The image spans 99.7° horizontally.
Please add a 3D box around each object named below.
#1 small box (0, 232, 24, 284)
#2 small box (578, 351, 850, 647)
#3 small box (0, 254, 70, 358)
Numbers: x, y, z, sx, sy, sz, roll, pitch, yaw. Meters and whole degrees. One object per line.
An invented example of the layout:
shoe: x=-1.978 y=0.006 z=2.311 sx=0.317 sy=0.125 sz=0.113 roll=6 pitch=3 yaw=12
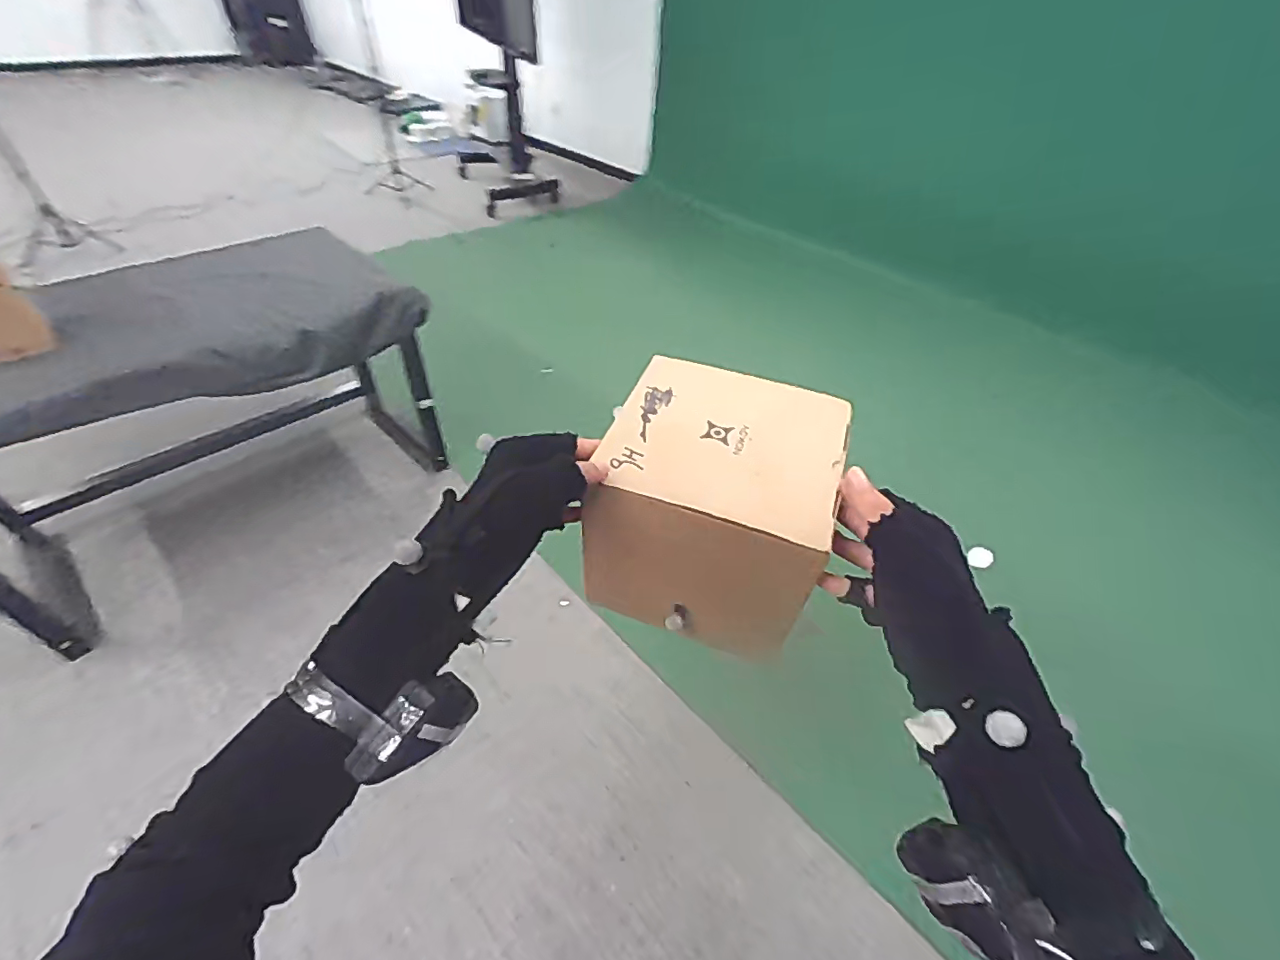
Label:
small box: x=-1.442 y=-0.502 z=1.112 sx=0.168 sy=0.176 sz=0.179 roll=-33 pitch=56 yaw=-31
small box: x=0.060 y=0.020 z=0.470 sx=0.179 sy=0.176 sz=0.168 roll=17 pitch=48 yaw=11
small box: x=-1.456 y=-0.389 z=1.227 sx=0.168 sy=0.176 sz=0.179 roll=-31 pitch=54 yaw=-32
